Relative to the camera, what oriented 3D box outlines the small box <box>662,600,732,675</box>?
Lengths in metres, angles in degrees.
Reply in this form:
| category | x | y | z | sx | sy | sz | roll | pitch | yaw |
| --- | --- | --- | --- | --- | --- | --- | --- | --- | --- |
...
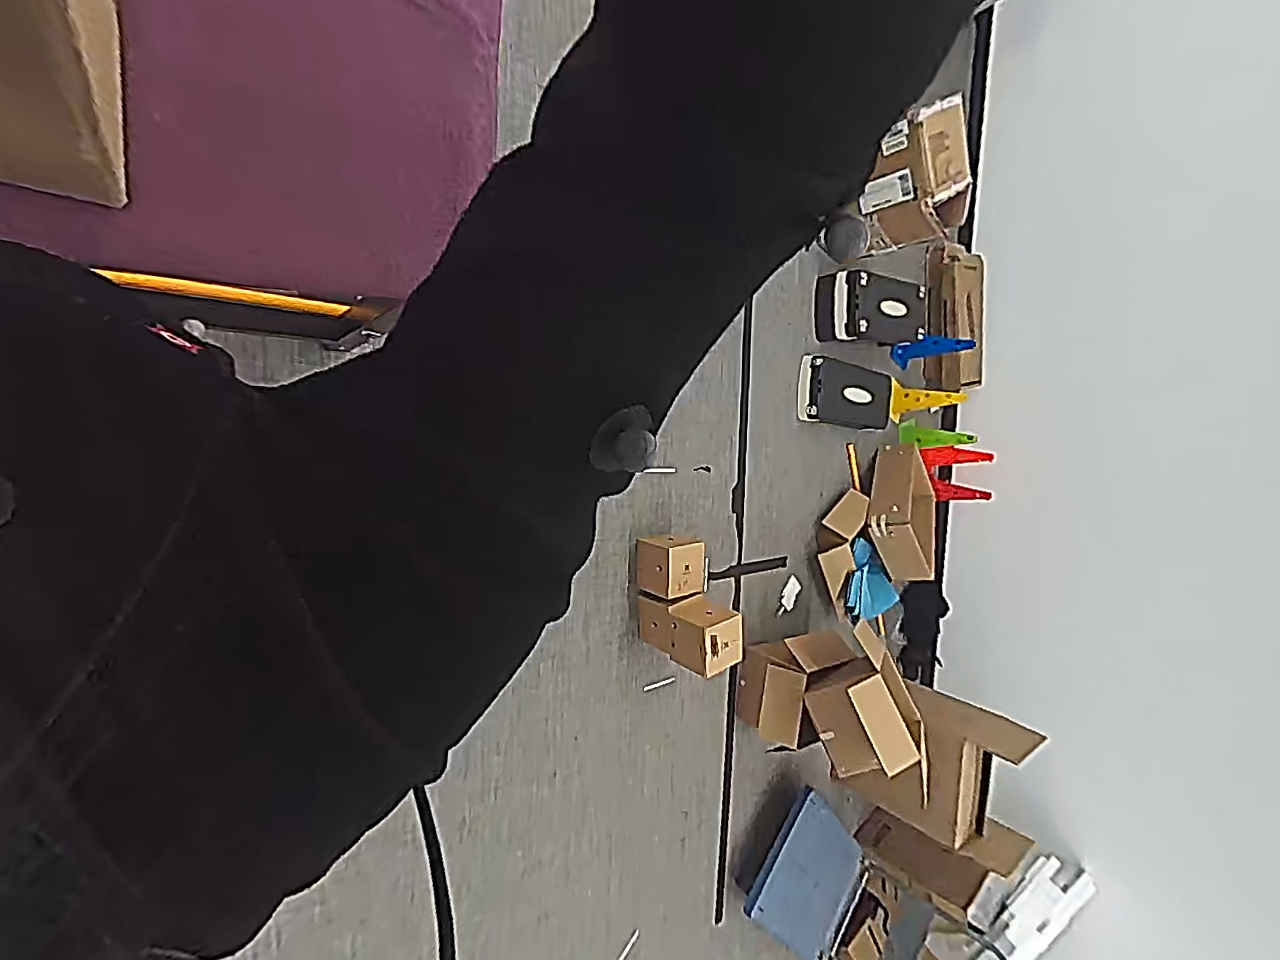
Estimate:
| category | x | y | z | sx | sy | sz | roll | pitch | yaw |
| --- | --- | --- | --- | --- | --- | --- | --- | --- | --- |
| small box | 0.183 | 0.511 | 1.776 | 0.179 | 0.176 | 0.168 | -9 | 102 | -40 |
